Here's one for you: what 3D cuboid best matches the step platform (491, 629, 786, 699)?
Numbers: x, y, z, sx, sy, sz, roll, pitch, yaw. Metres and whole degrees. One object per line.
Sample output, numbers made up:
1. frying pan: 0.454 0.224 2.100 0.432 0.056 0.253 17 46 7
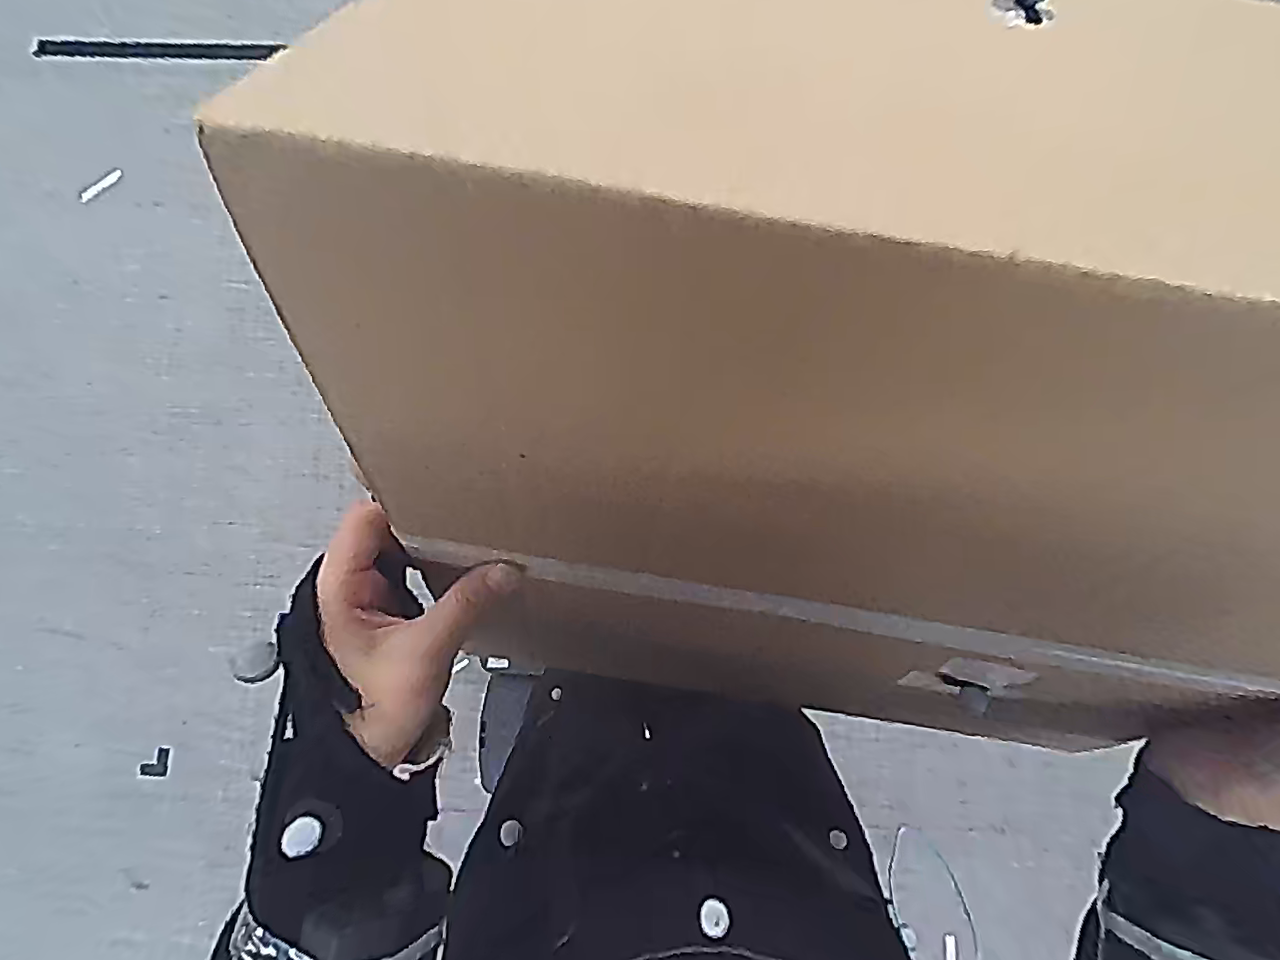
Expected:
1. step platform: 0.005 0.307 1.270 0.684 0.204 0.286 9 84 1
